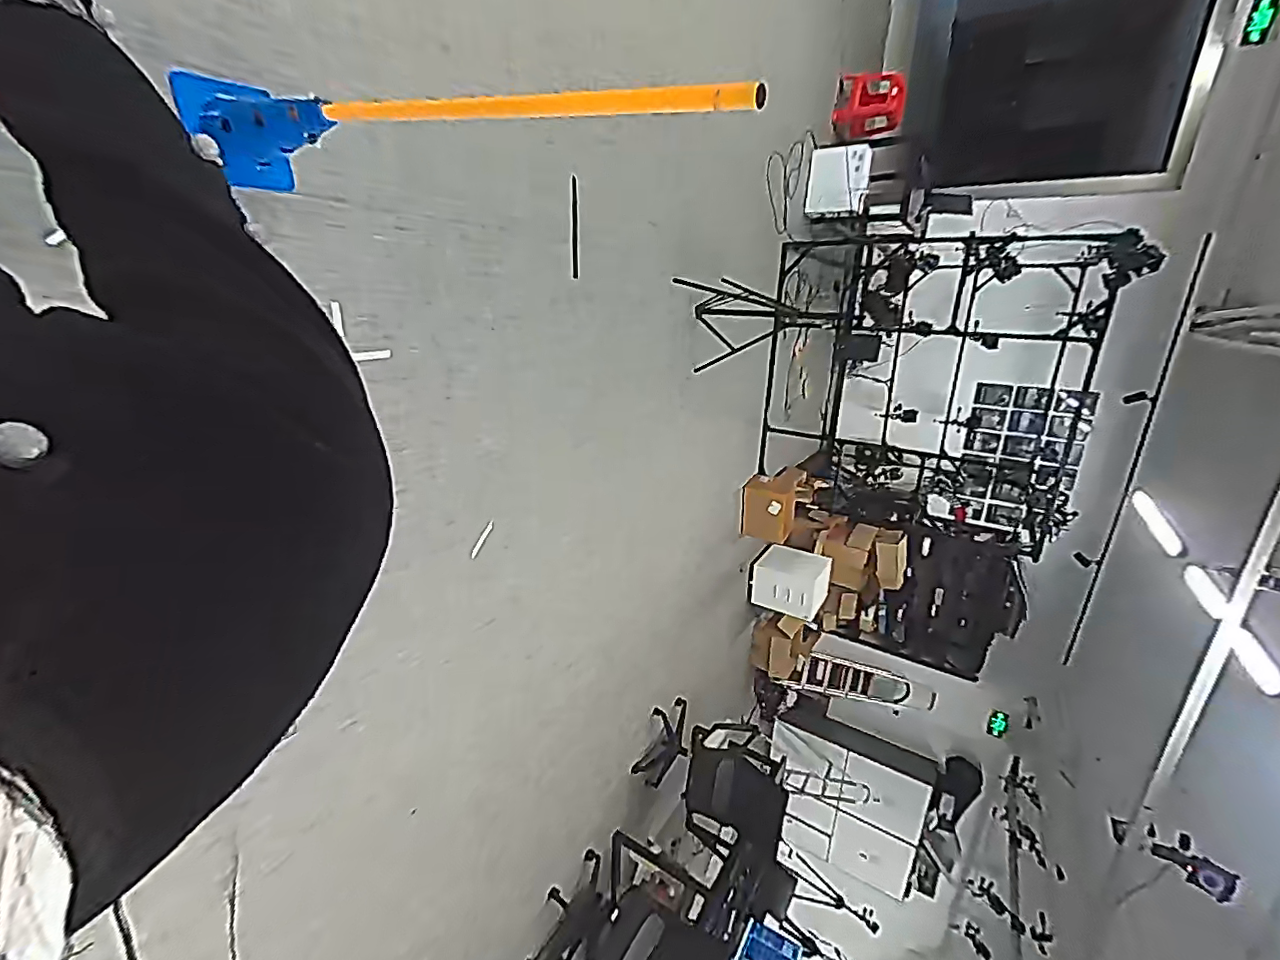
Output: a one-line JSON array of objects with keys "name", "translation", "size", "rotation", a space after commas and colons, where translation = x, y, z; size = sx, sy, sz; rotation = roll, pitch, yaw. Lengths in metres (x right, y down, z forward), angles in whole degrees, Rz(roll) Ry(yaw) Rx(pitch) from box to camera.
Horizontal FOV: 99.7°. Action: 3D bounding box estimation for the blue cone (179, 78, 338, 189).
[{"name": "blue cone", "translation": [-0.726, -0.714, 1.089], "size": [0.193, 0.380, 0.192], "rotation": [-30, 125, -52]}]
